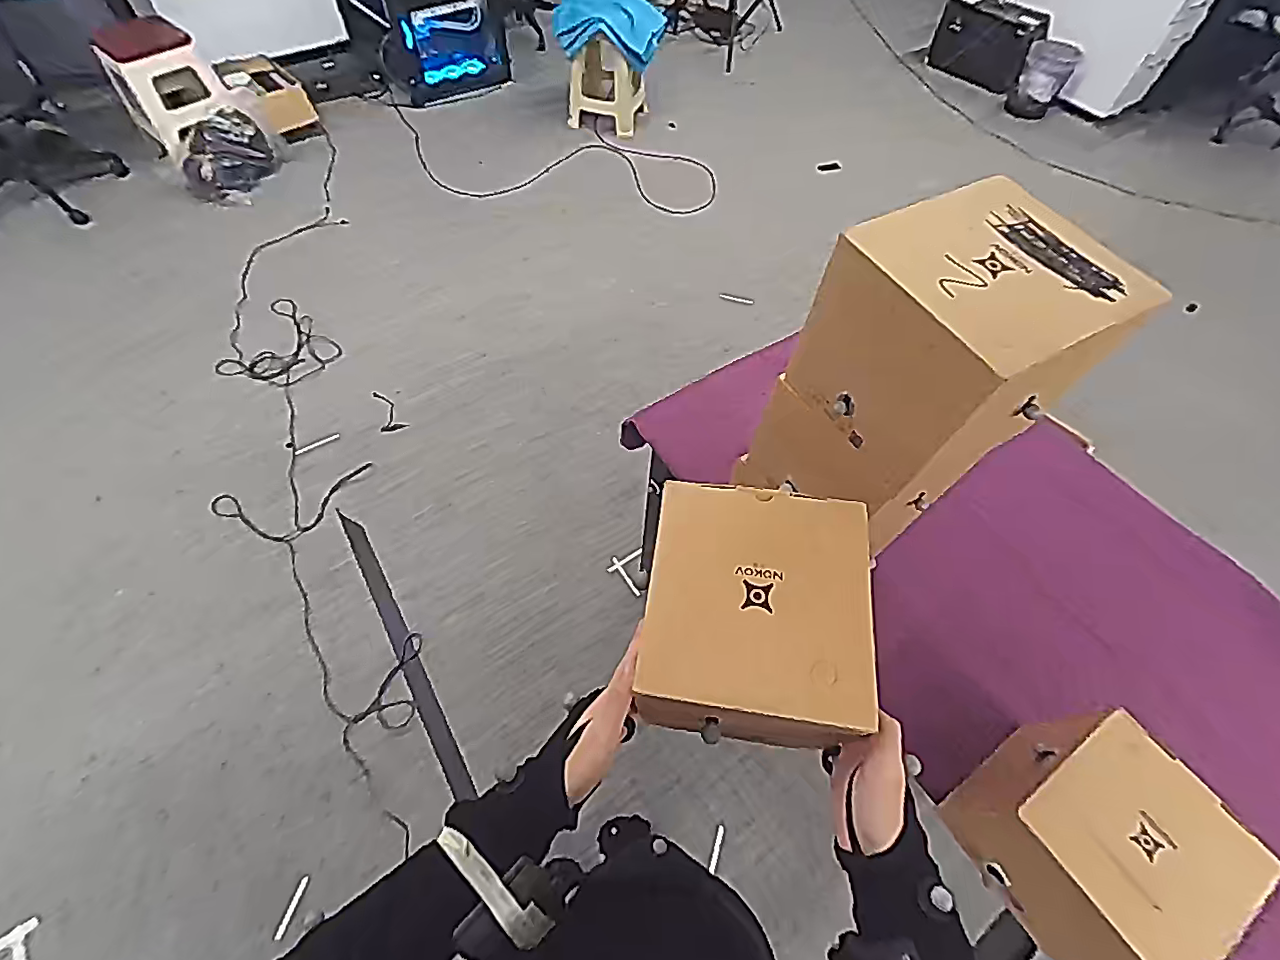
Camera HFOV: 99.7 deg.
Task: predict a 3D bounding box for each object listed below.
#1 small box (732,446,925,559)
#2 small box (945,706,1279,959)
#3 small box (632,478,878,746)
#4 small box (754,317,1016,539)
[{"bbox_3d":[0.238,0.042,0.747,0.168,0.176,0.179,-25,63,-16],"label":"small box"},{"bbox_3d":[0.466,0.367,0.563,0.179,0.176,0.168,-29,63,-17],"label":"small box"},{"bbox_3d":[0.093,0.120,0.470,0.168,0.176,0.179,5,58,7],"label":"small box"},{"bbox_3d":[0.253,-0.043,0.607,0.179,0.176,0.168,-26,64,-16],"label":"small box"}]
